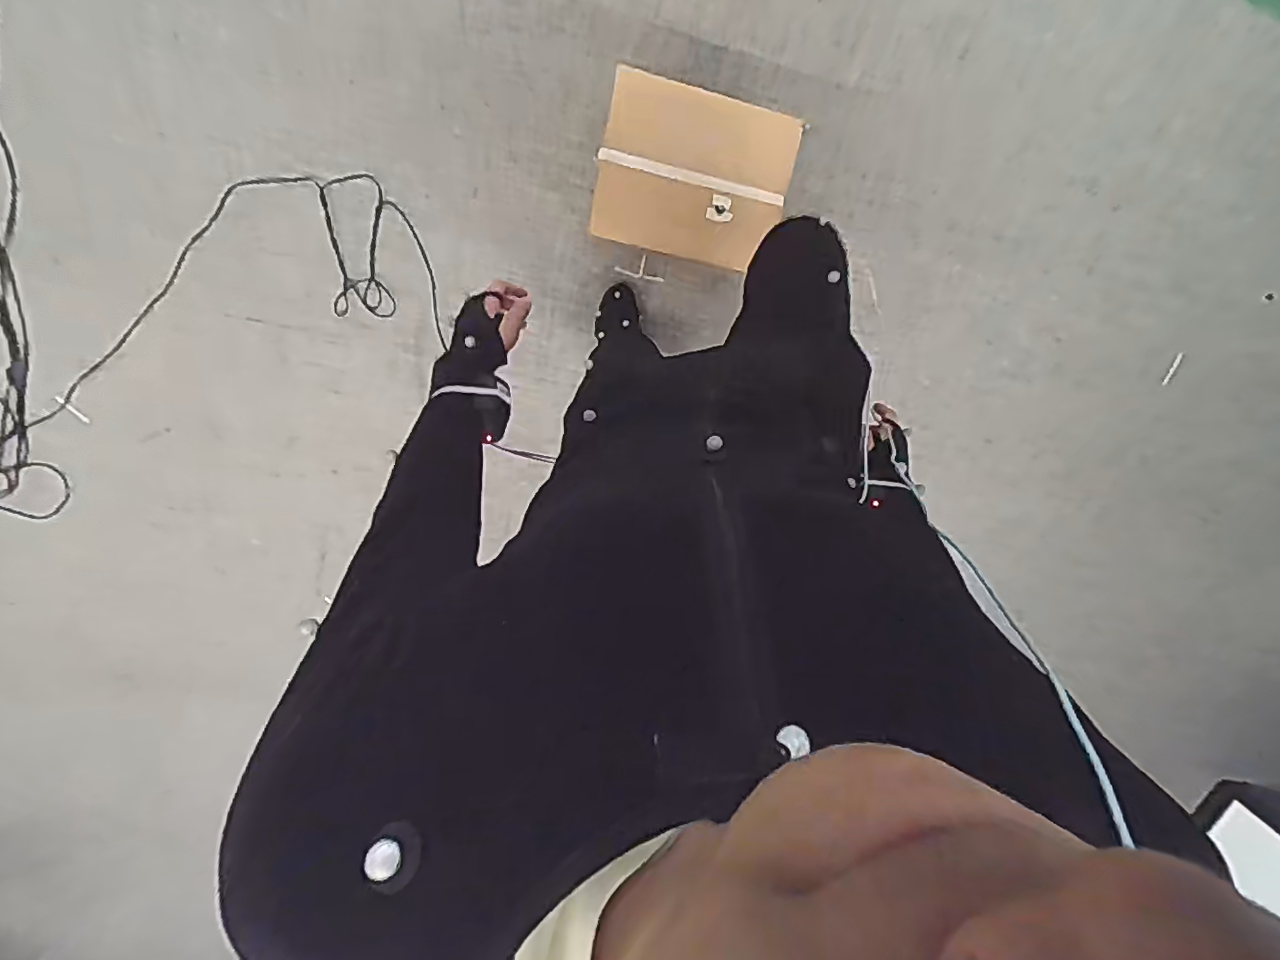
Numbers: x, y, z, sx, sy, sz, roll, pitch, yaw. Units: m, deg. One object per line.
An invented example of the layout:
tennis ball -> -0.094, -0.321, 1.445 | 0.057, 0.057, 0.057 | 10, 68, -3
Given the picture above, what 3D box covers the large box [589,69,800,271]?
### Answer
large box -> 0.098, -0.698, 1.286 | 0.408, 0.320, 0.320 | 8, 109, -10
